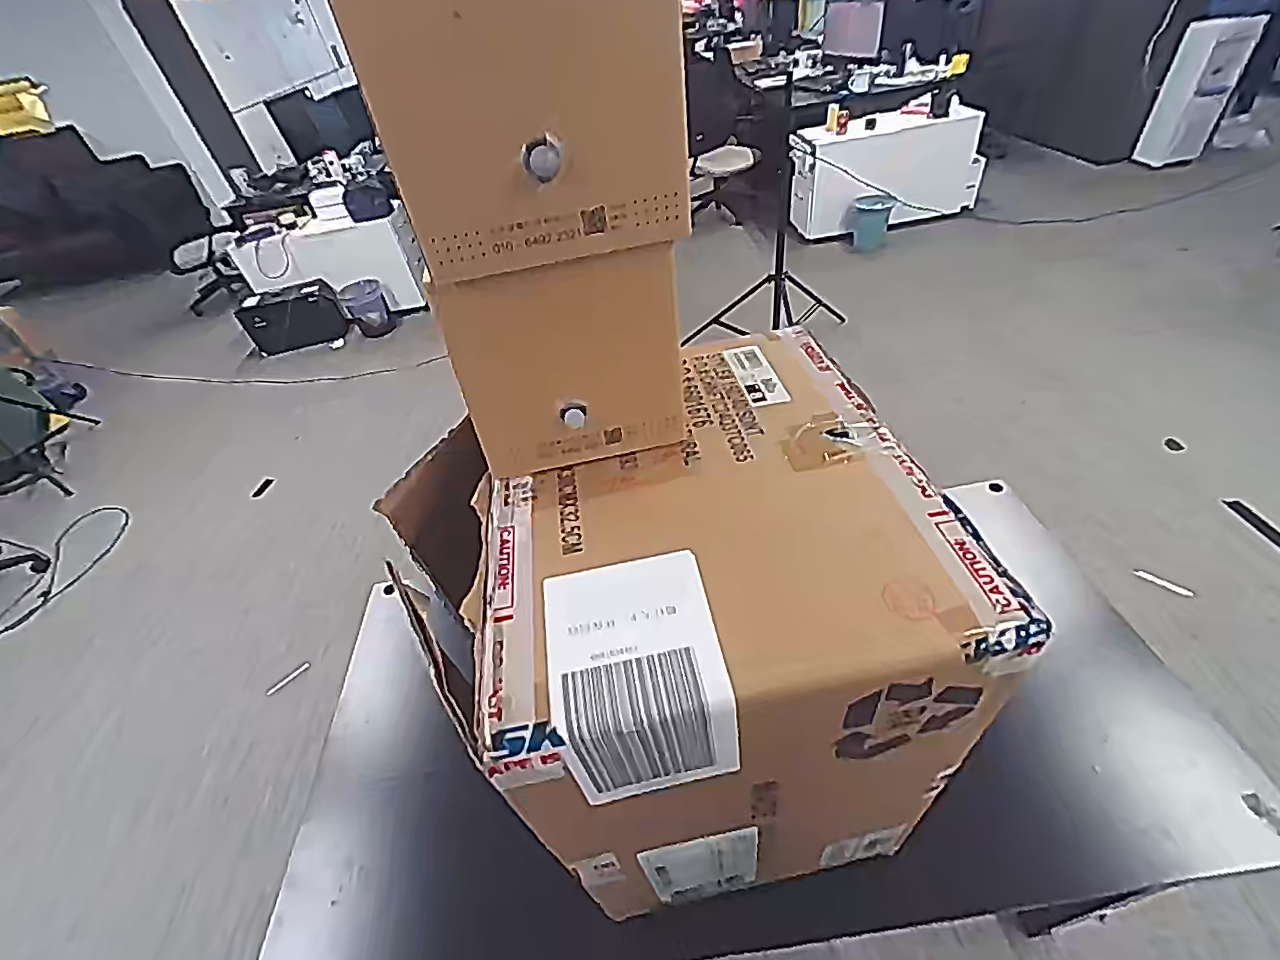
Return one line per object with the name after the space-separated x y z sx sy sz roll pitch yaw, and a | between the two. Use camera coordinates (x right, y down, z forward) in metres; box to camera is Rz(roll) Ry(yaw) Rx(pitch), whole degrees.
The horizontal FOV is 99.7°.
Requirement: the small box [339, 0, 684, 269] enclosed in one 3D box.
-0.075 -0.253 0.345 0.168 0.176 0.179 -14 41 -5 | small box

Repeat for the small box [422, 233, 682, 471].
-0.065 -0.134 0.459 0.168 0.176 0.179 -12 41 -4 | small box
